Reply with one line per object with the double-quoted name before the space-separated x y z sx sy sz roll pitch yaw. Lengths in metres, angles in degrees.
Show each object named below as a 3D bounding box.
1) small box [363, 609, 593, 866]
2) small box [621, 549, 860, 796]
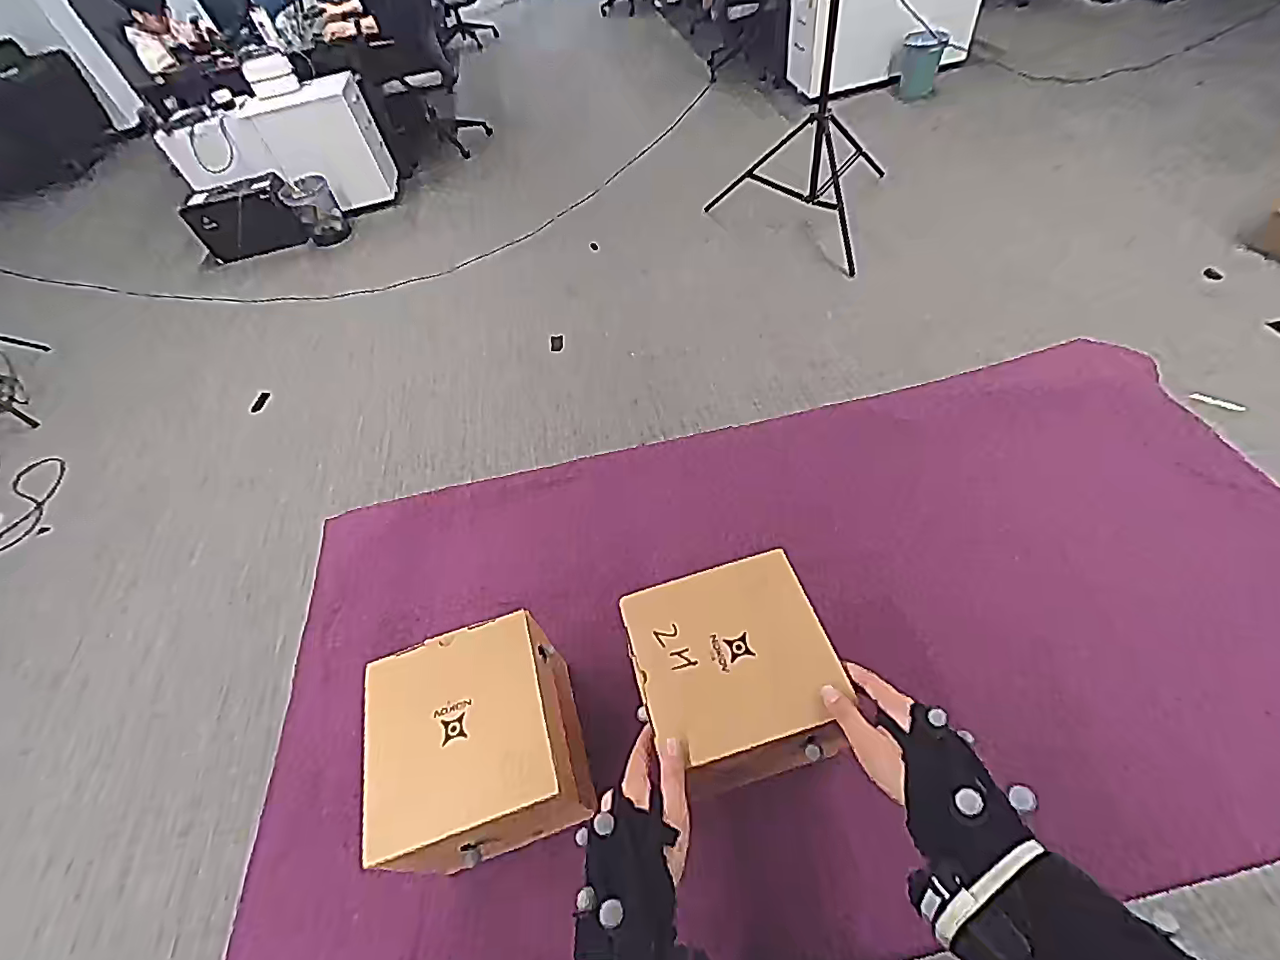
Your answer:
"small box" -0.157 0.266 0.551 0.168 0.176 0.179 -19 51 -5
"small box" 0.092 0.201 0.554 0.179 0.176 0.168 -17 51 -3
